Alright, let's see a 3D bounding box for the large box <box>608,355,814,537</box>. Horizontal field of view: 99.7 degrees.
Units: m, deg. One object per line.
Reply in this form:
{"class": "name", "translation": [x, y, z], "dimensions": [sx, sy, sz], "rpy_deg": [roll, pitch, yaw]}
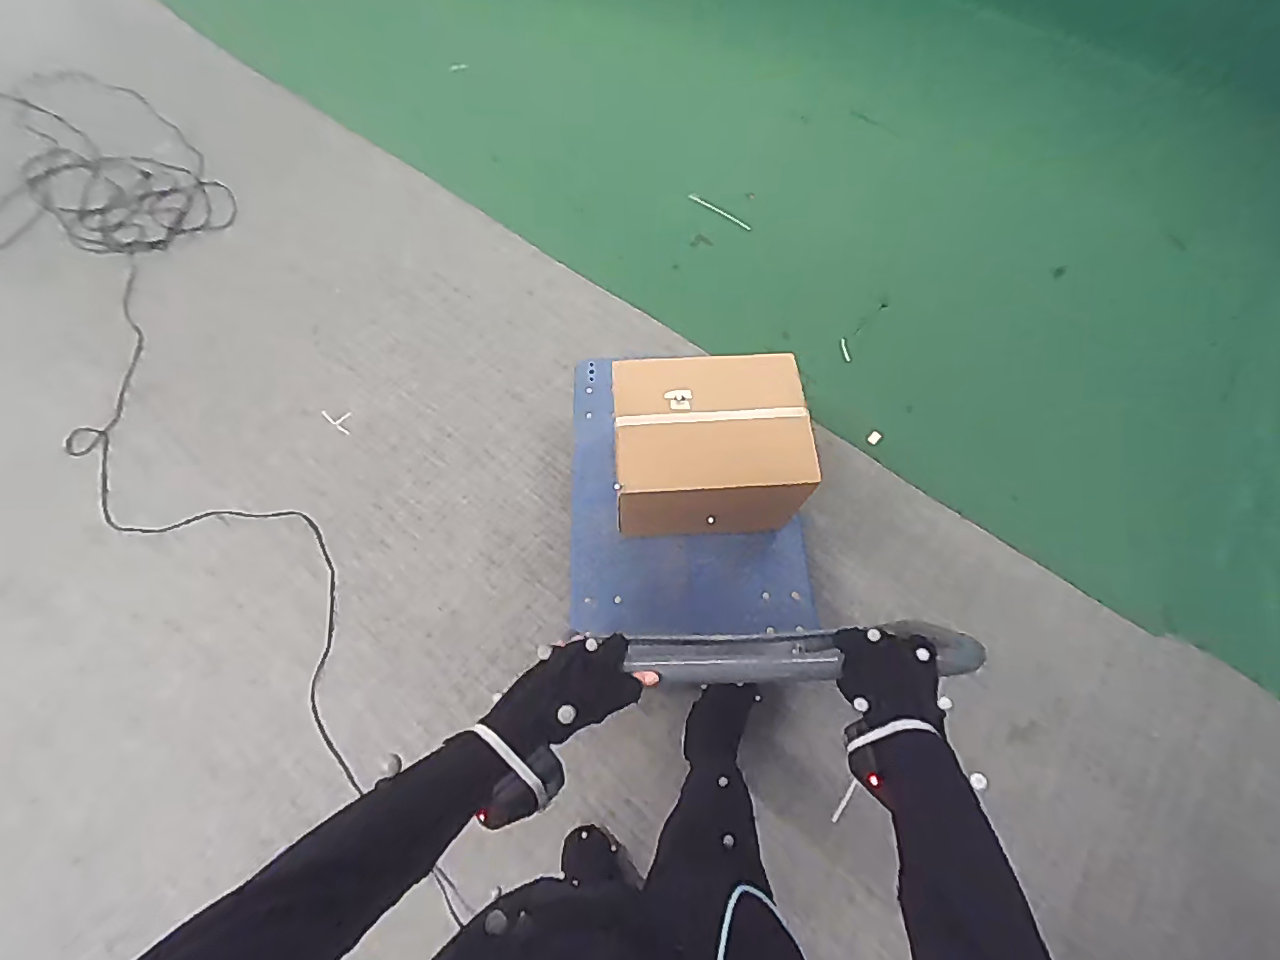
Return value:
{"class": "large box", "translation": [0.139, -0.066, 1.270], "dimensions": [0.408, 0.320, 0.320], "rpy_deg": [-4, 67, -3]}
